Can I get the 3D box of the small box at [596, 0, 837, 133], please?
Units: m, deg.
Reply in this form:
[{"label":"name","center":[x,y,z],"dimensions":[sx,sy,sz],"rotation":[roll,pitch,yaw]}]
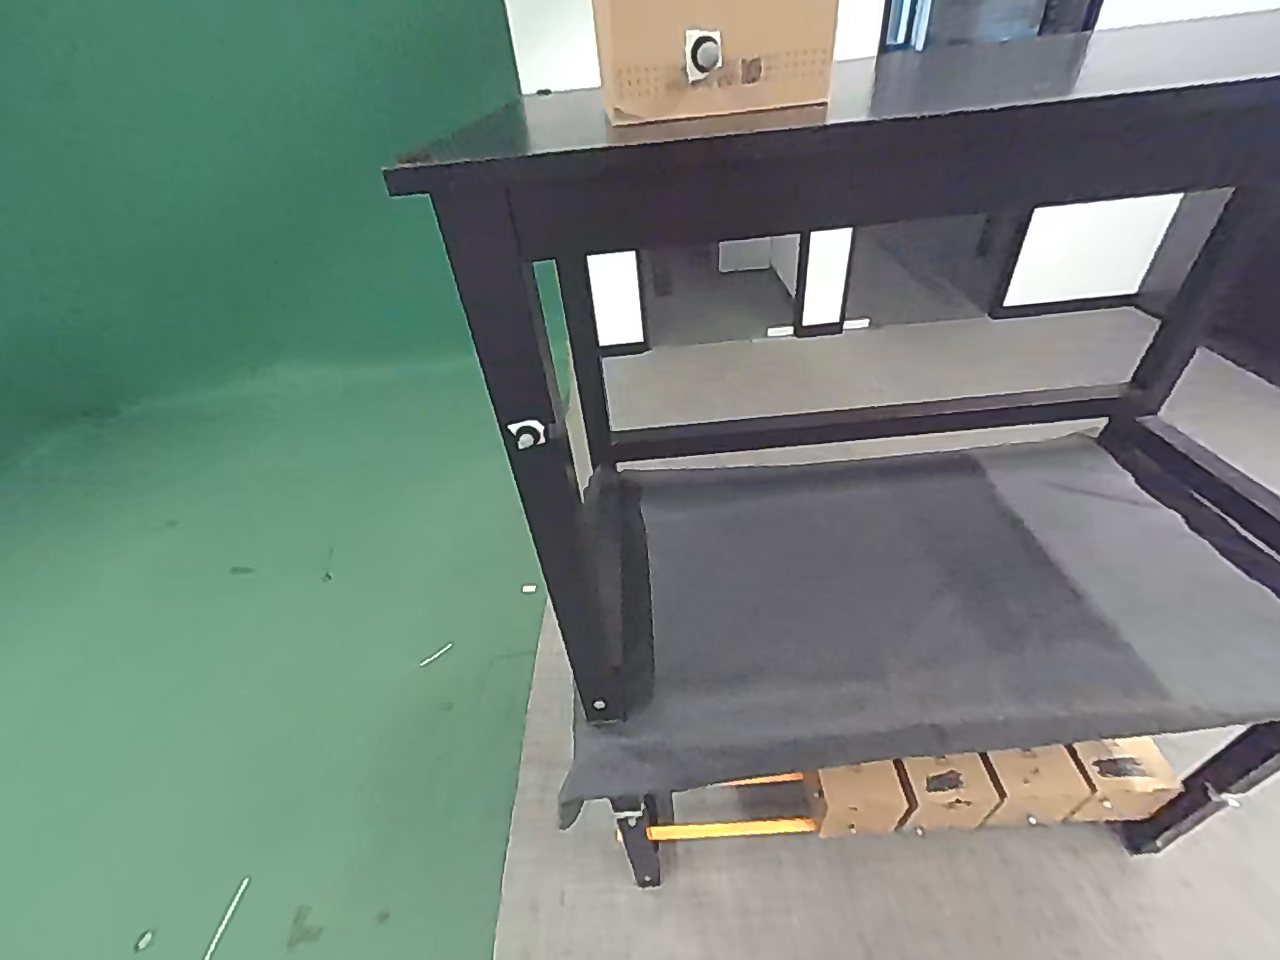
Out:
[{"label":"small box","center":[0.048,-0.386,0.430],"dimensions":[0.168,0.176,0.179],"rotation":[-8,38,0]}]
